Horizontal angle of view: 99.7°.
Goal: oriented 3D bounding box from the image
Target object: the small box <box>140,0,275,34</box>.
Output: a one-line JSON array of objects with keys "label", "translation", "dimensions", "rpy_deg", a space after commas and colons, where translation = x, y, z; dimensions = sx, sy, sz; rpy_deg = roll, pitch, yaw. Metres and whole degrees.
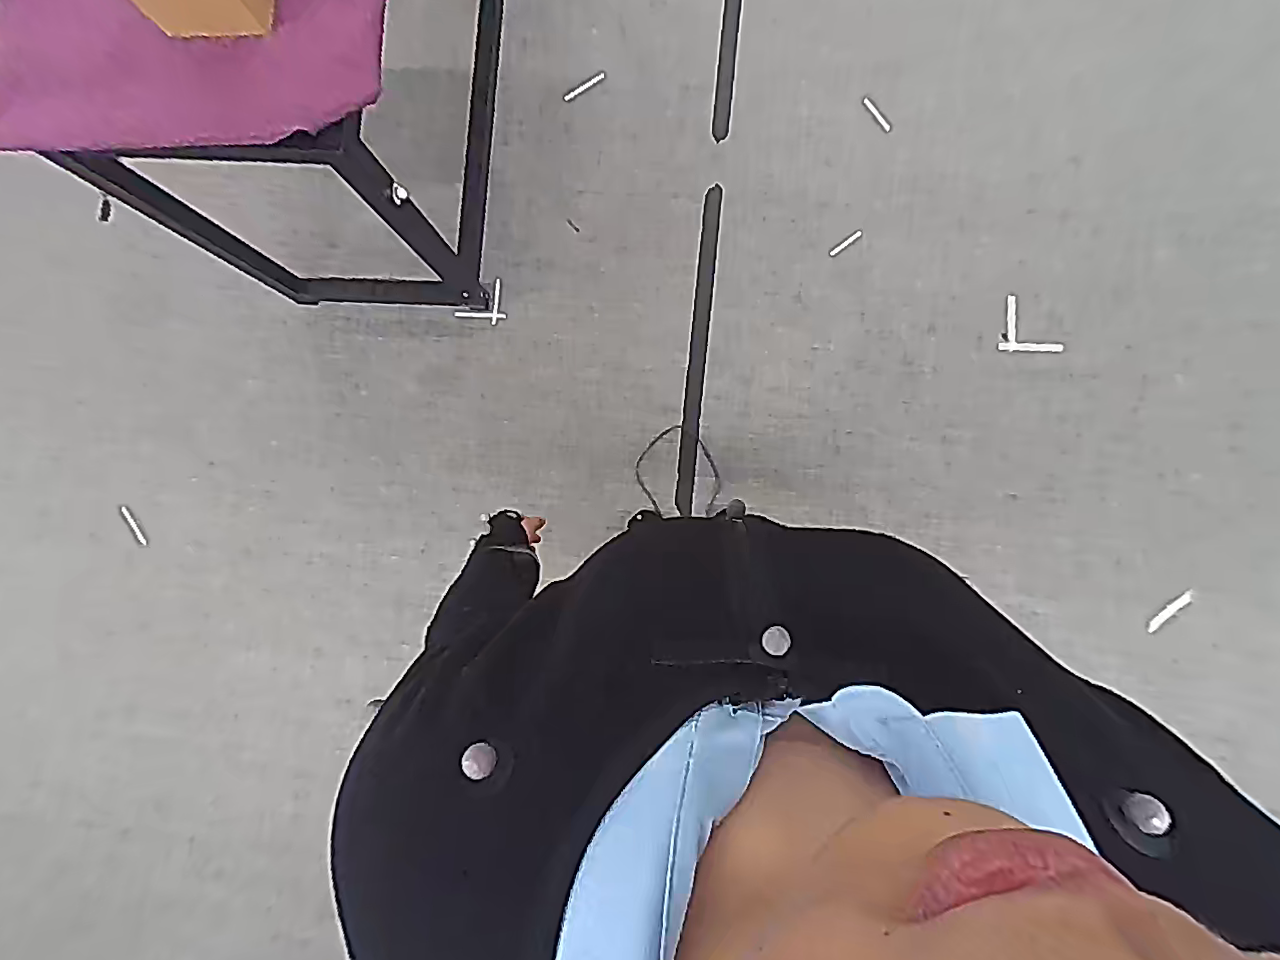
[{"label": "small box", "translation": [-0.675, -0.801, 0.794], "dimensions": [0.179, 0.176, 0.168], "rpy_deg": [2, 85, 3]}]
